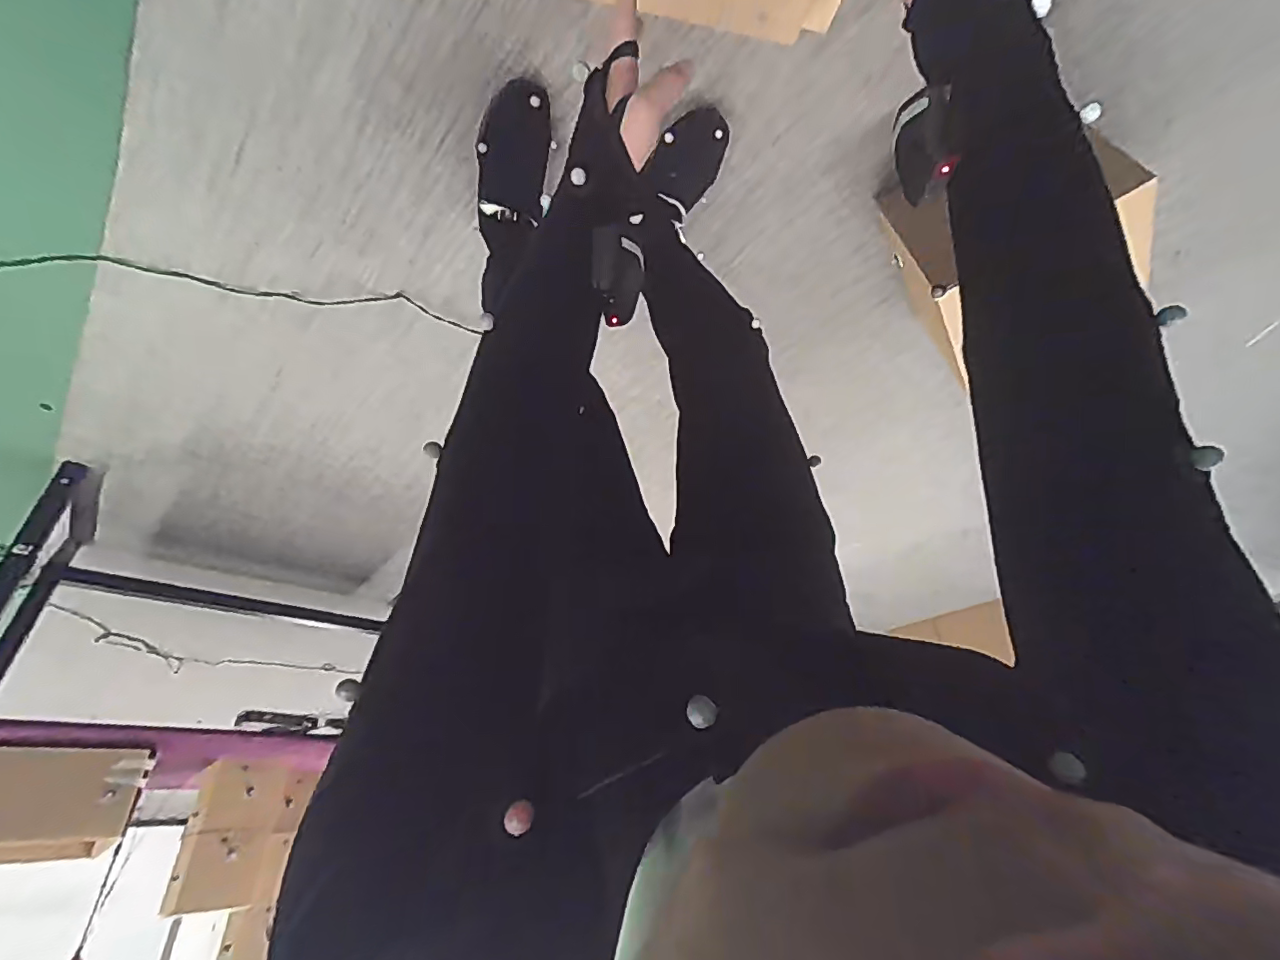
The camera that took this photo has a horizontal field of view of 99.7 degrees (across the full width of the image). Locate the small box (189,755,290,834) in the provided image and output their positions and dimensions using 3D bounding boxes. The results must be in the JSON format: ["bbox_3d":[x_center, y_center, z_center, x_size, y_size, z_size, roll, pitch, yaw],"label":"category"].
[{"bbox_3d":[-1.098,0.865,1.491,0.168,0.176,0.179,26,135,-37],"label":"small box"}]

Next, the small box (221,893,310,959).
[{"bbox_3d":[-1.078,1.301,1.556,0.168,0.176,0.179,25,134,-35],"label":"small box"}]

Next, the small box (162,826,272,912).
[{"bbox_3d":[-1.086,0.999,1.398,0.168,0.176,0.179,25,135,-38],"label":"small box"}]

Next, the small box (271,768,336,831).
[{"bbox_3d":[-1.105,1.034,1.741,0.168,0.176,0.179,26,135,-36],"label":"small box"}]
